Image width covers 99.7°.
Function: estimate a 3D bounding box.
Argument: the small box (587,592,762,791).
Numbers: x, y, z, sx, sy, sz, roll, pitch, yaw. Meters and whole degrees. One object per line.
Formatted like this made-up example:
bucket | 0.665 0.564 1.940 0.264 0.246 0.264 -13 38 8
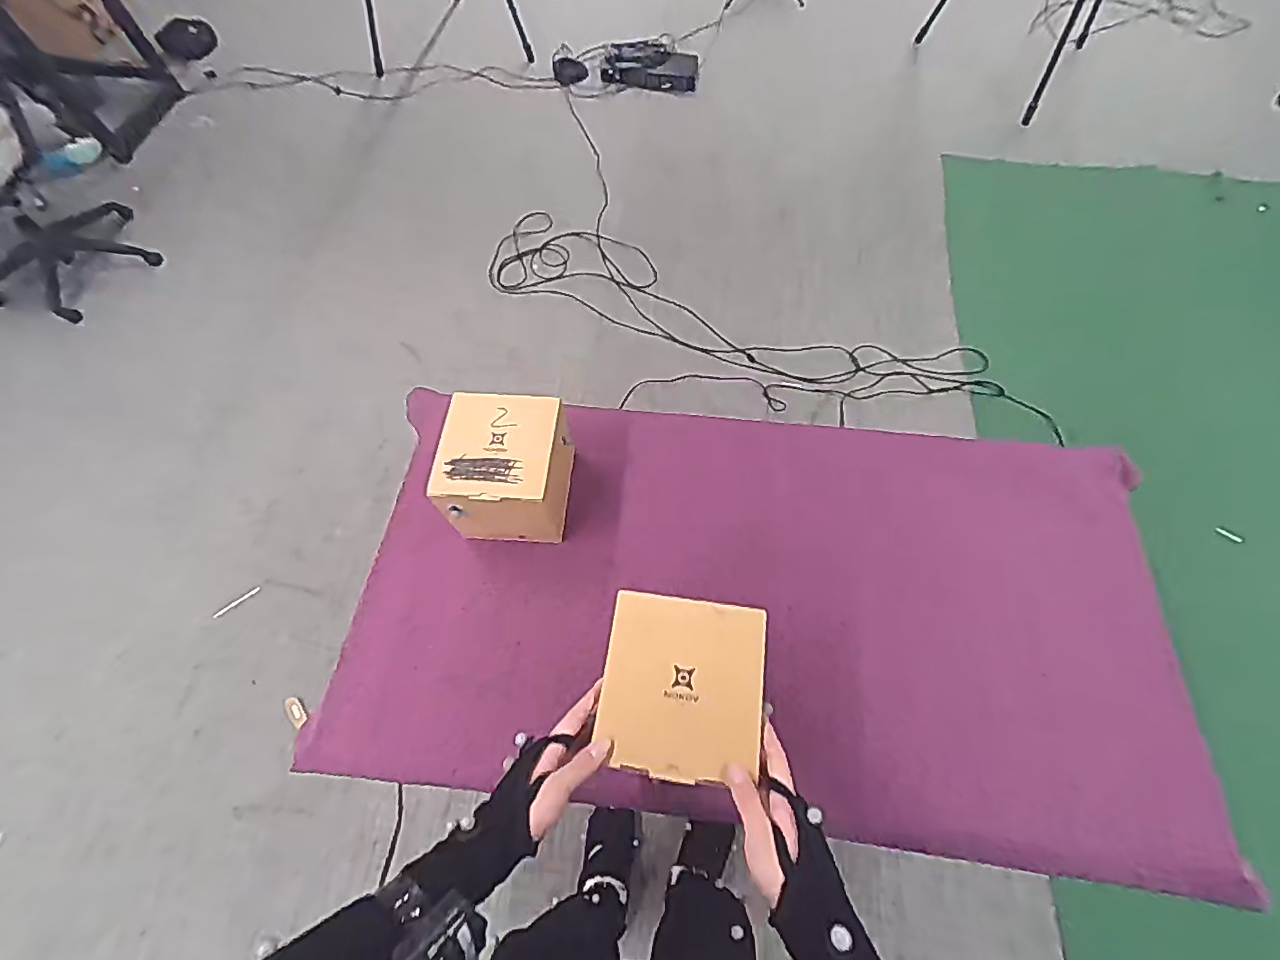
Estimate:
small box | 0.042 0.247 0.633 0.168 0.176 0.179 6 64 6
